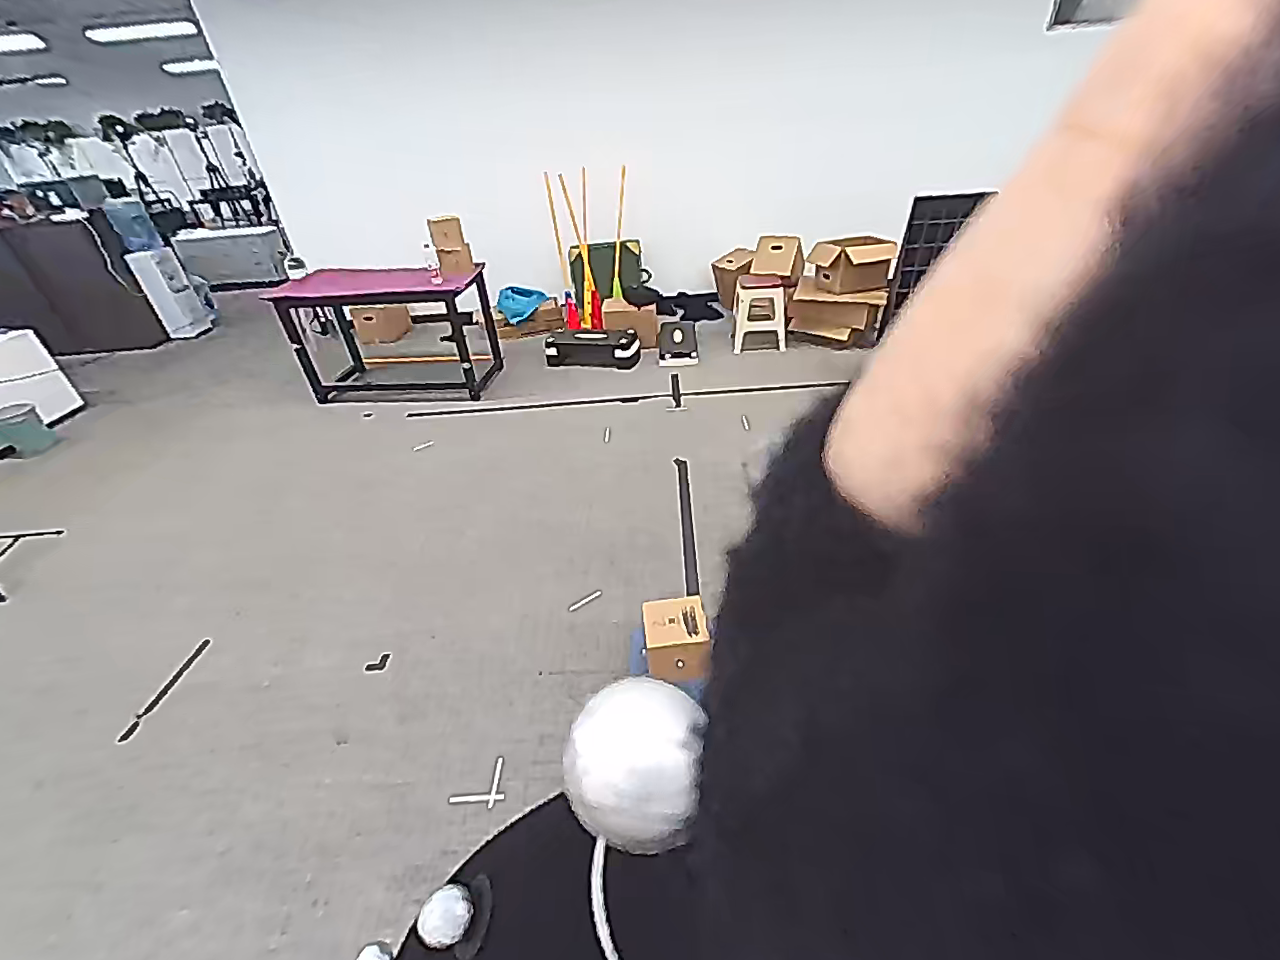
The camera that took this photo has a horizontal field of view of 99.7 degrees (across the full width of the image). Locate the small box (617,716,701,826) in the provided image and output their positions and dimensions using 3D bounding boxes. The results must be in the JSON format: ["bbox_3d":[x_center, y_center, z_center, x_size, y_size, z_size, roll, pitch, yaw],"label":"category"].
[{"bbox_3d":[0.051,0.684,1.273,0.179,0.176,0.168,2,35,8],"label":"small box"}]
